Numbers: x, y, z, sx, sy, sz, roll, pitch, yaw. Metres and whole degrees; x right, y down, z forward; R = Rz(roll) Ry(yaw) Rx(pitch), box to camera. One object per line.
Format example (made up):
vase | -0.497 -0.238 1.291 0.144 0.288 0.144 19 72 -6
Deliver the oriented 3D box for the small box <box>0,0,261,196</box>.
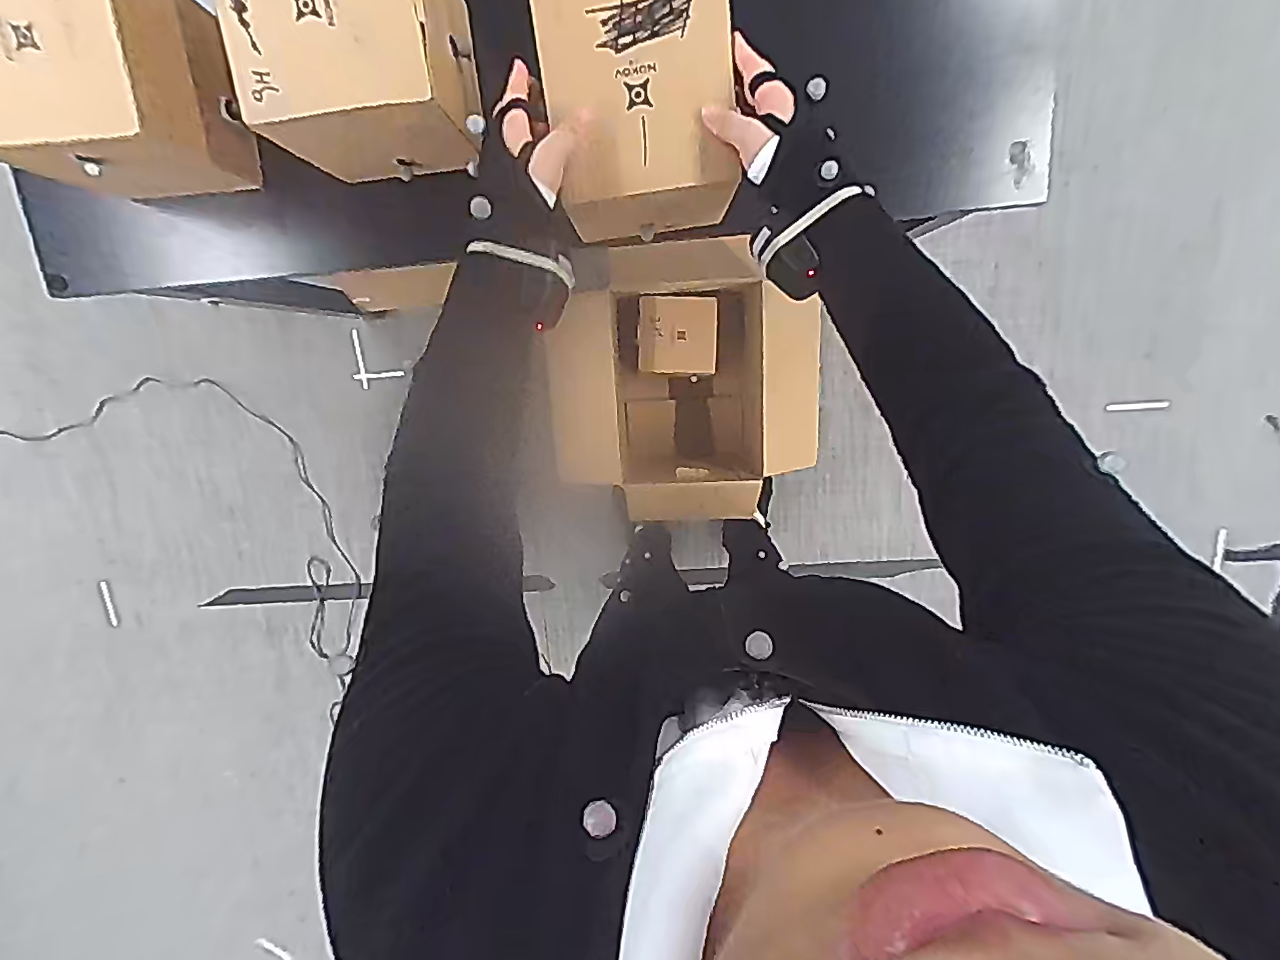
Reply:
small box | -0.531 -0.396 0.538 0.179 0.176 0.168 -3 103 1

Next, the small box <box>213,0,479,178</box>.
small box | -0.269 -0.416 0.528 0.179 0.176 0.168 -6 103 1

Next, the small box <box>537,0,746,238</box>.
small box | 0.003 -0.359 0.536 0.168 0.176 0.179 -7 103 3
